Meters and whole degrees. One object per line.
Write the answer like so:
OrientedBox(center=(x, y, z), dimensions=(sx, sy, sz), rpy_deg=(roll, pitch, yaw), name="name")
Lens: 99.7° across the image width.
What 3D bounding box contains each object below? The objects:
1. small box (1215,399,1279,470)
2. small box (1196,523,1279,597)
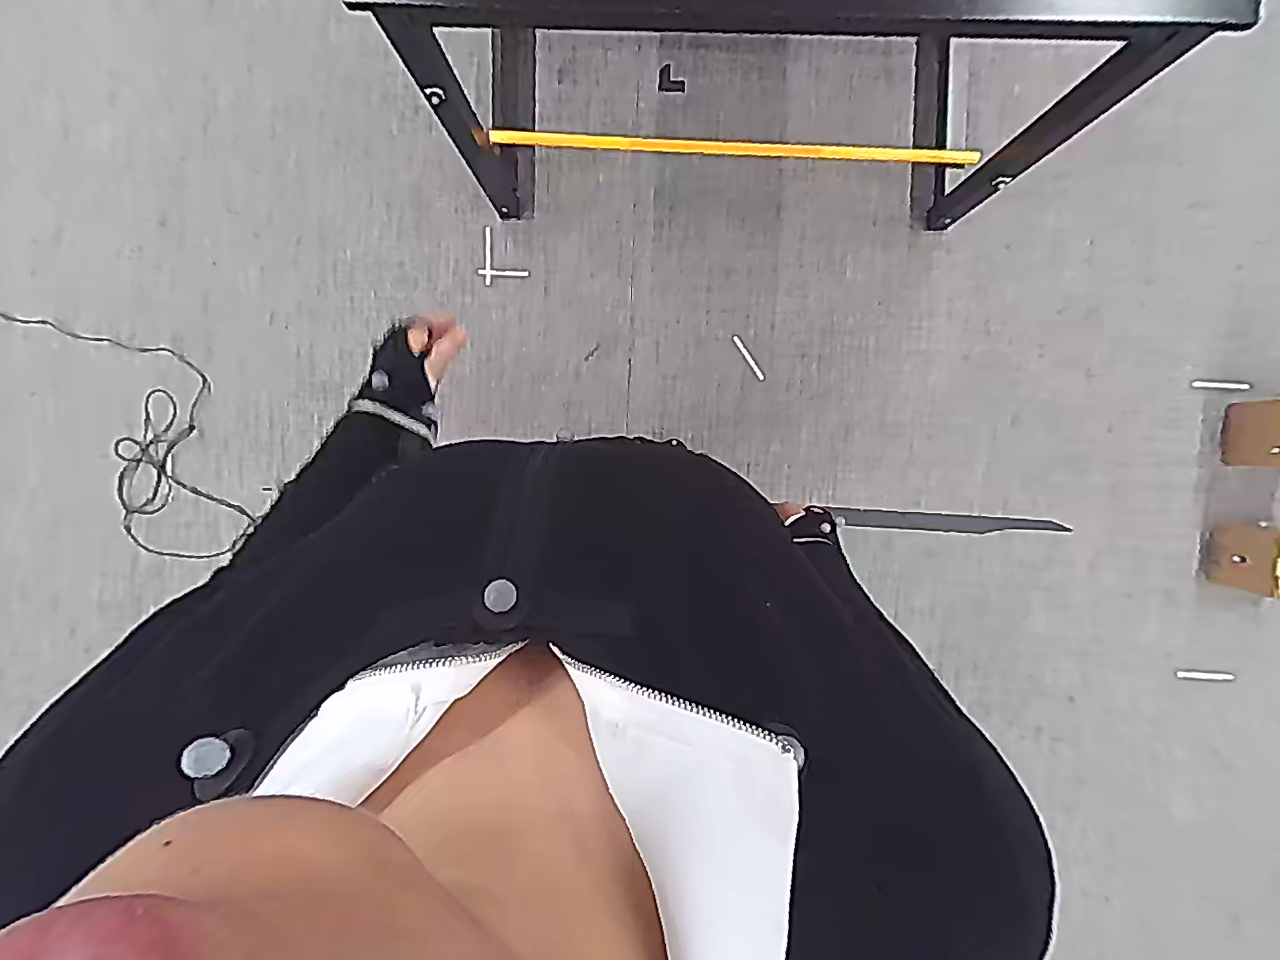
OrientedBox(center=(1.655, -0.117, 1.397), dimensions=(0.168, 0.176, 0.179), rpy_deg=(1, 93, 0), name="small box")
OrientedBox(center=(1.635, 0.208, 1.422), dimensions=(0.179, 0.176, 0.168), rpy_deg=(4, 94, 1), name="small box")
